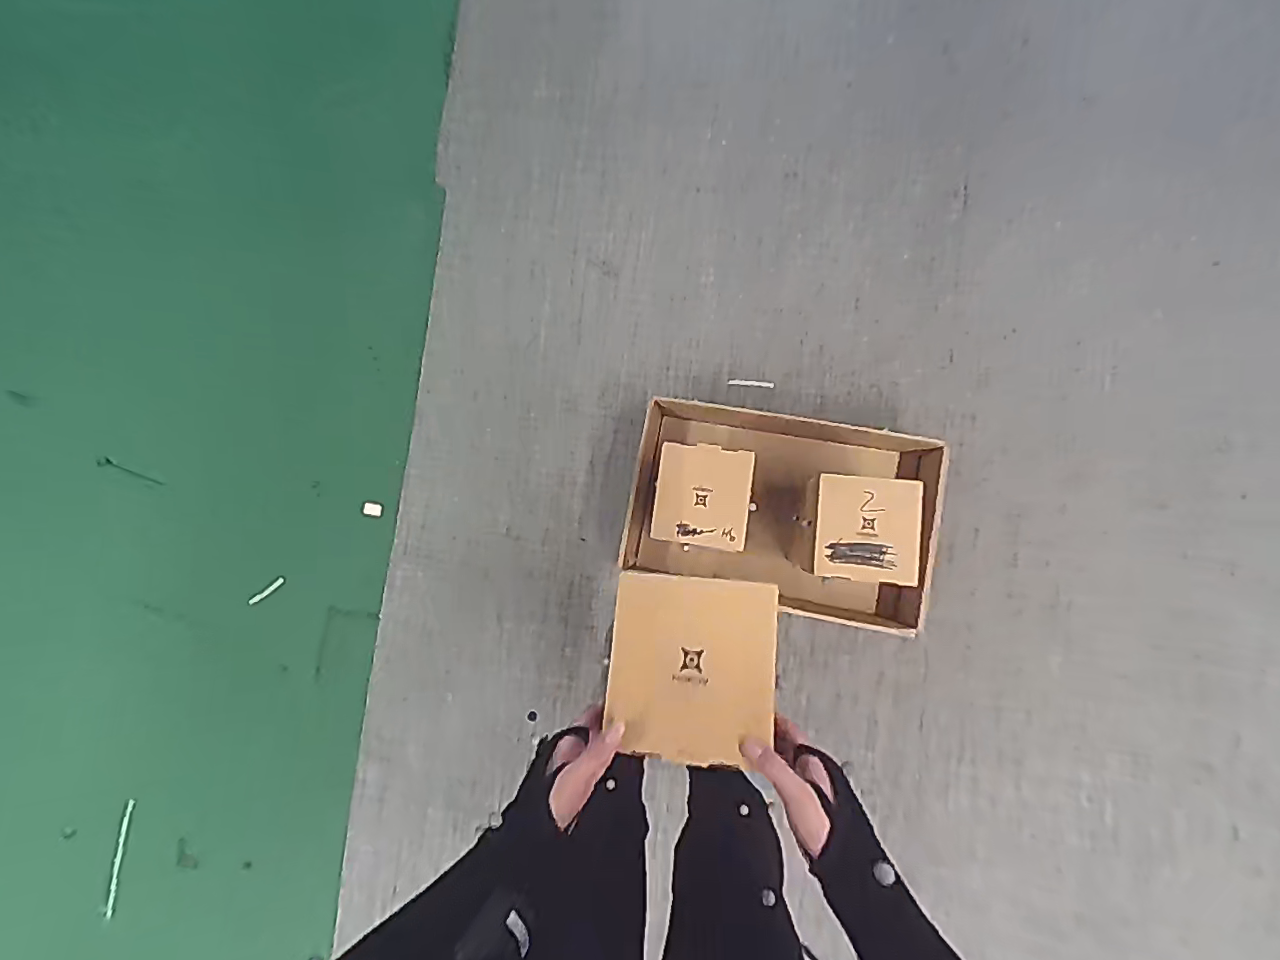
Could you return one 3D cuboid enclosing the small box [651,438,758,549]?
[{"bbox_3d":[0.123,0.030,1.015,0.168,0.176,0.179,8,84,10],"label":"small box"}]

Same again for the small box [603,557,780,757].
[{"bbox_3d":[0.062,0.192,0.613,0.168,0.176,0.179,4,75,8],"label":"small box"}]
